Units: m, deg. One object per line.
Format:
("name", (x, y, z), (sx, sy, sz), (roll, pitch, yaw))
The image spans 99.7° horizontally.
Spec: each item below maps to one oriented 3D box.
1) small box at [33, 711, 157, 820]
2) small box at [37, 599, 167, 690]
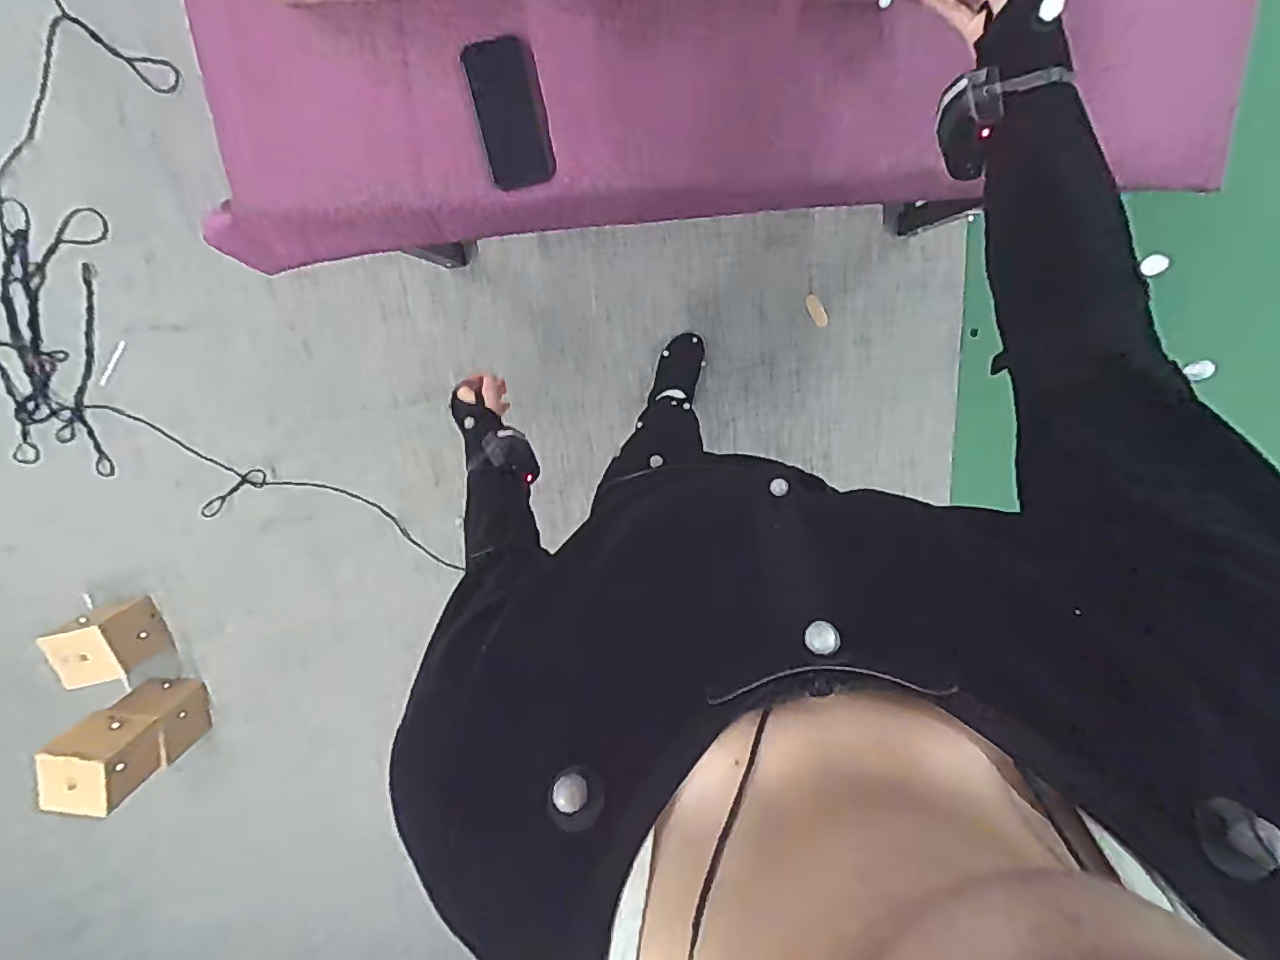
("small box", (-1.429, 0.750, 1.430), (0.168, 0.176, 0.179), (11, 104, -3))
("small box", (-1.487, 0.453, 1.515), (0.179, 0.176, 0.168), (-12, 105, 3))
